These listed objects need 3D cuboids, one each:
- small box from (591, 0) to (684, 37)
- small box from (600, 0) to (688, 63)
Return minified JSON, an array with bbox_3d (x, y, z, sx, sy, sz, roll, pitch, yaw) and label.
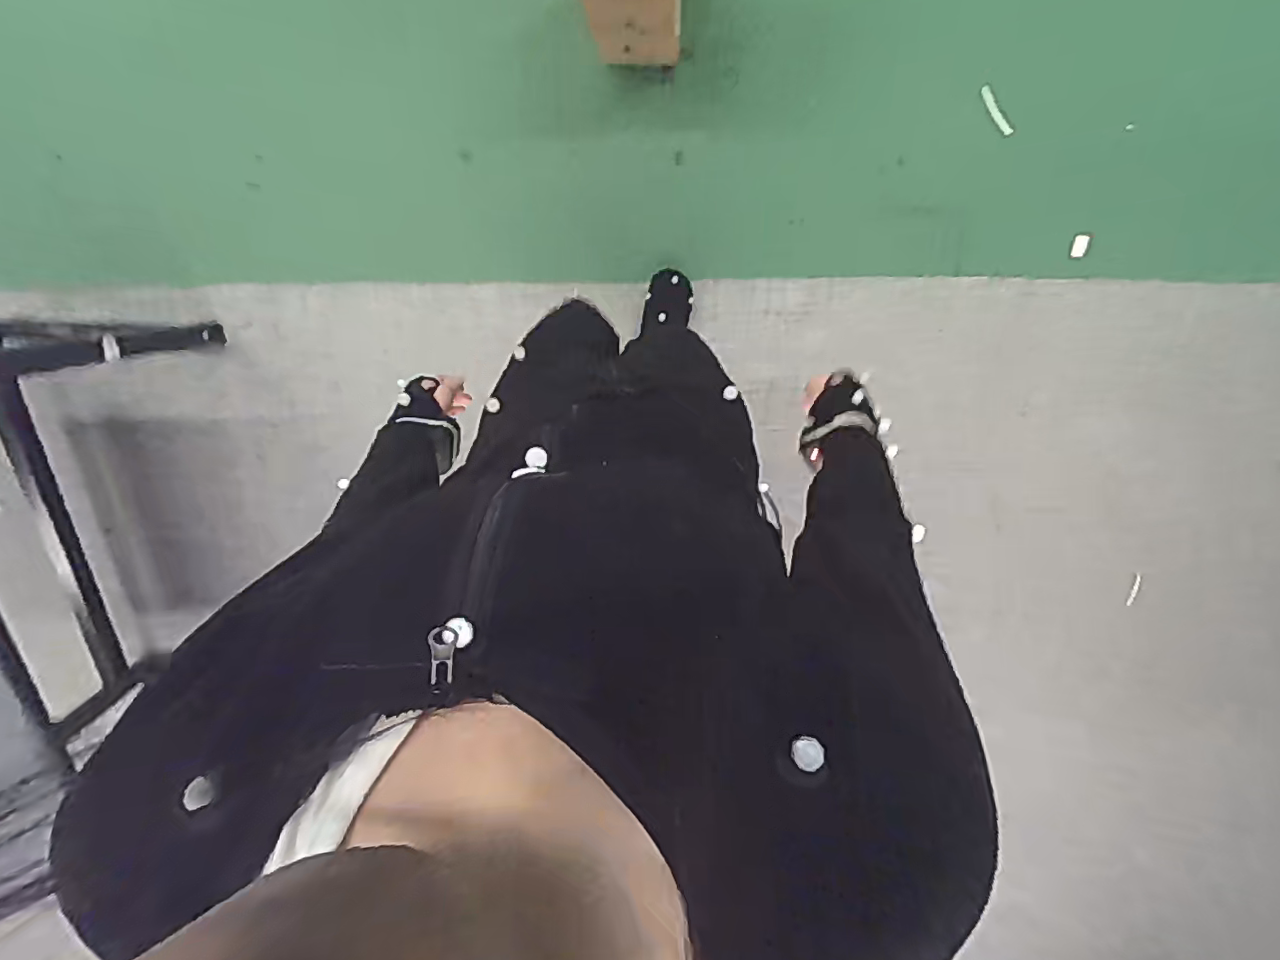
[{"bbox_3d":[-0.003,-0.900,0.924,0.168,0.176,0.179,4,112,3],"label":"small box"},{"bbox_3d":[0.011,-0.959,1.077,0.168,0.176,0.179,1,111,4],"label":"small box"}]
